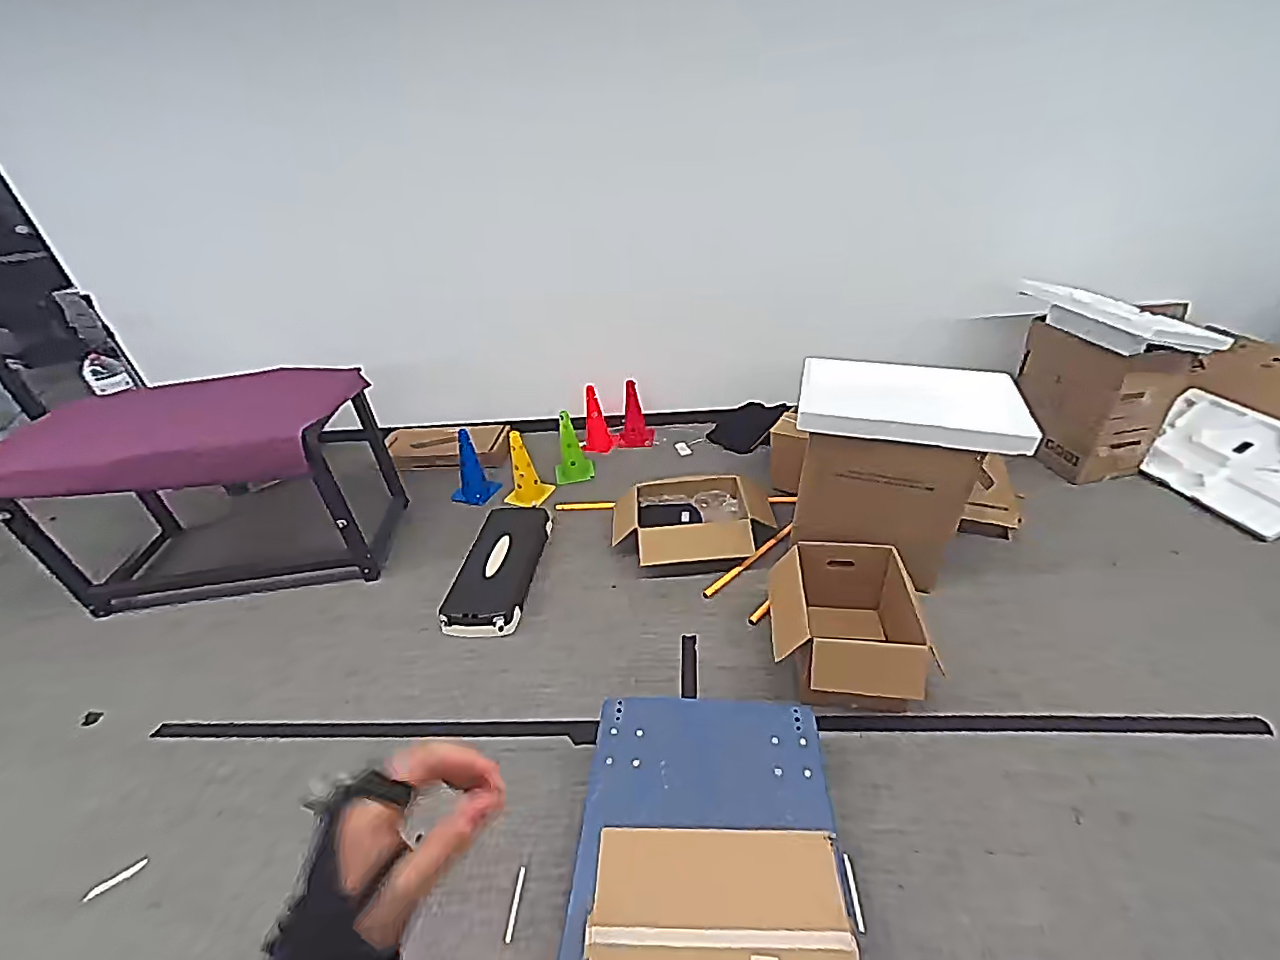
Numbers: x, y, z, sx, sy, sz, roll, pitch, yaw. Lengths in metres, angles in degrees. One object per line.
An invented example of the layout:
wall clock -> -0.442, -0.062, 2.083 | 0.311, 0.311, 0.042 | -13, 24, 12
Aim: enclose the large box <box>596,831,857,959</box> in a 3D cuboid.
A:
large box -> 0.138, 0.840, 0.925 | 0.408, 0.320, 0.320 | -2, 34, 4
